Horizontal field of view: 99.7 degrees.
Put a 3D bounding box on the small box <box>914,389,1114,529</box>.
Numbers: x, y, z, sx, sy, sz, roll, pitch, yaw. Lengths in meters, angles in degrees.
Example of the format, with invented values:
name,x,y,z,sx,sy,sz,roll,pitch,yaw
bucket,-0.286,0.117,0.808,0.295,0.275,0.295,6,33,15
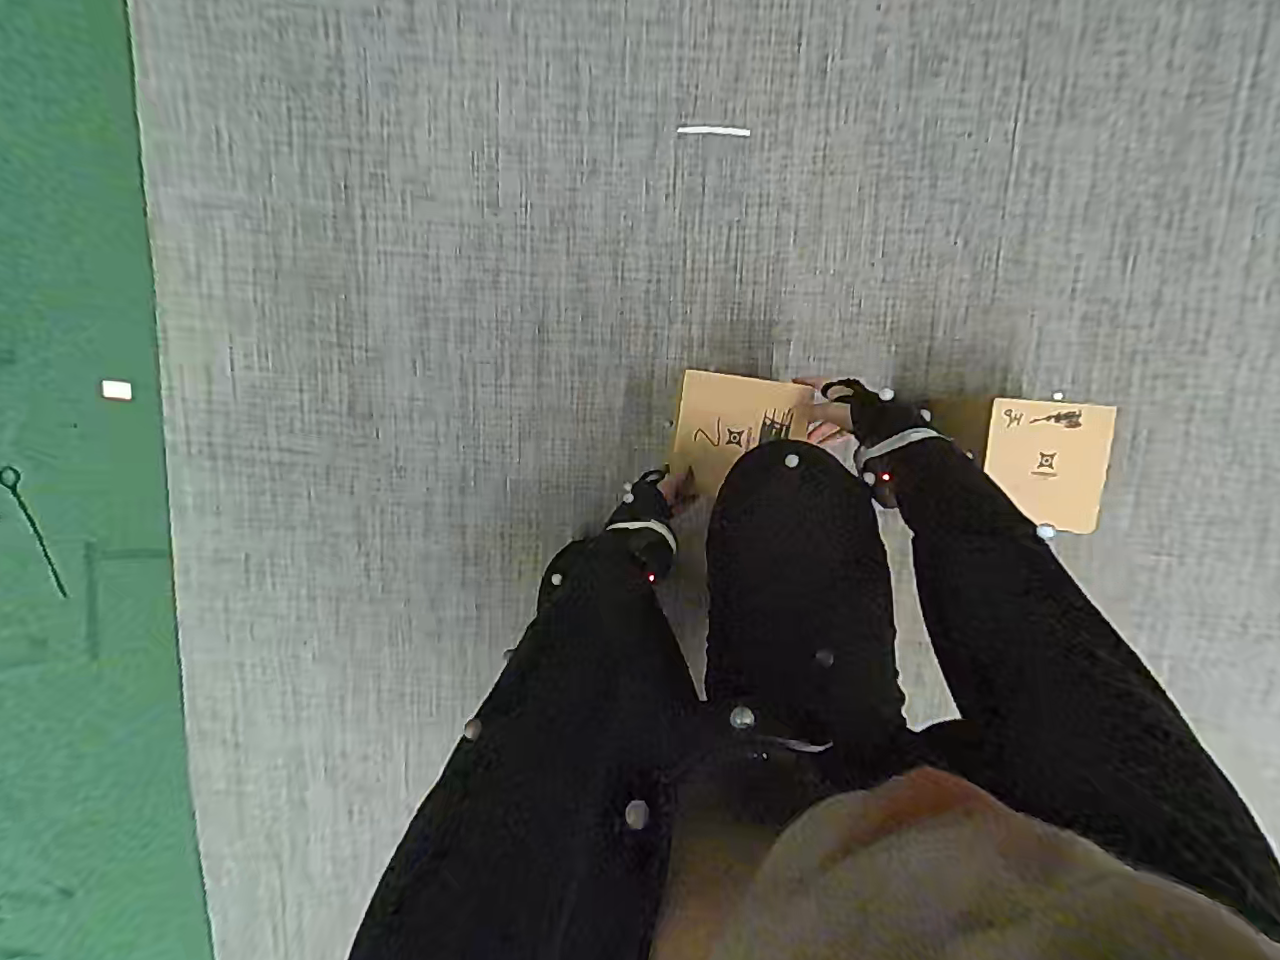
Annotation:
name,x,y,z,sx,sy,sz,roll,pitch,yaw
small box,0.531,-0.039,0.798,0.168,0.176,0.179,5,99,-1
